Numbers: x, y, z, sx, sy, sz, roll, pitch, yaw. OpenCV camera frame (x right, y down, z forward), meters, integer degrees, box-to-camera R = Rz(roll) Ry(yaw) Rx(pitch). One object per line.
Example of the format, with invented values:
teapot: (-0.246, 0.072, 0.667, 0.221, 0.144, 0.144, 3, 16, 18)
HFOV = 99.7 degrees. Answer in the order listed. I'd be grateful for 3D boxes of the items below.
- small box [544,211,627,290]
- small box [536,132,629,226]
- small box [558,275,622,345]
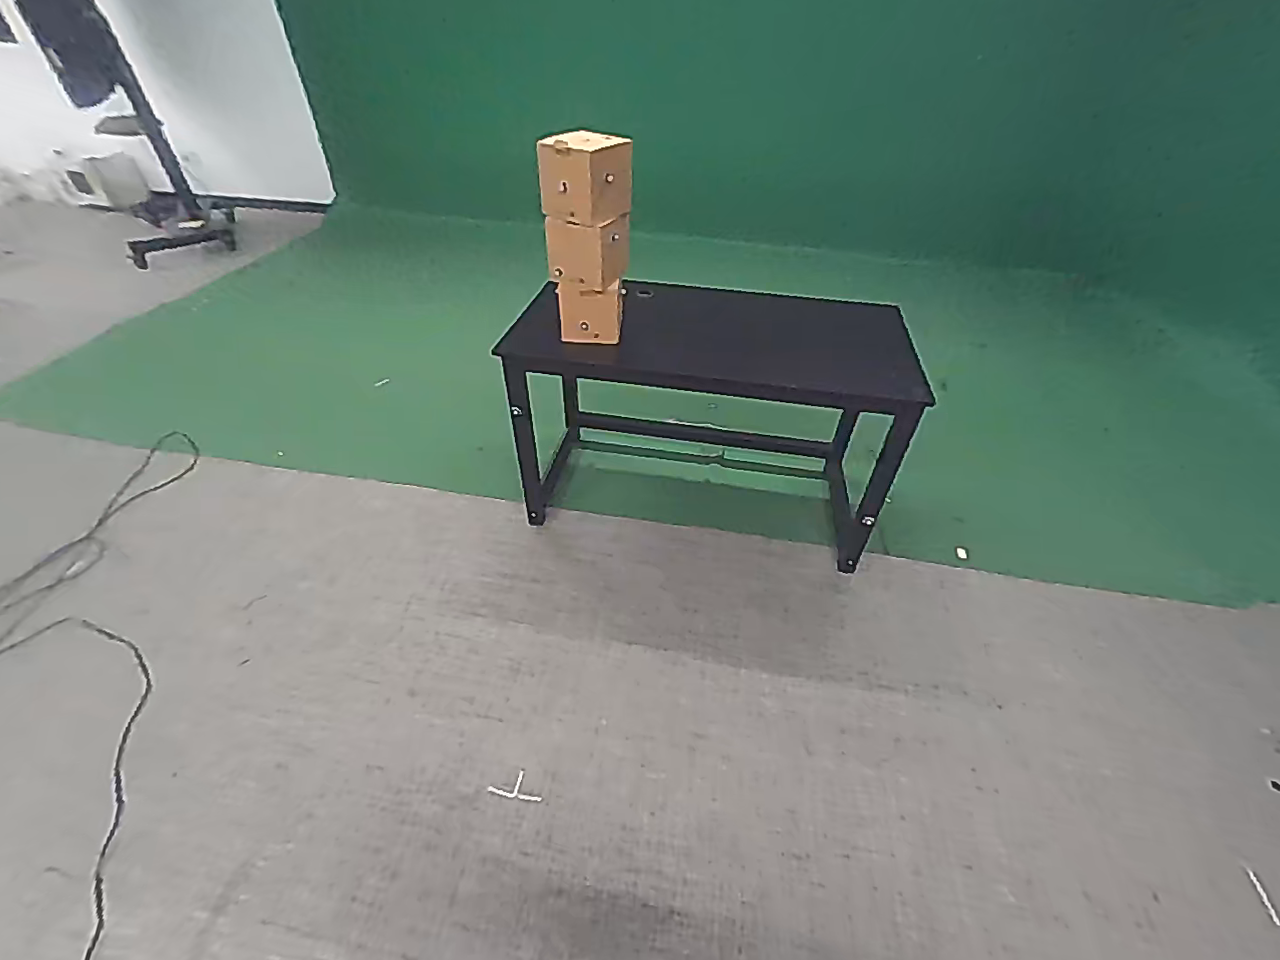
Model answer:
small box: (-0.143, -0.641, 1.485, 0.168, 0.176, 0.179, 18, 44, 16)
small box: (-0.139, -0.768, 1.380, 0.168, 0.176, 0.179, 26, 49, 23)
small box: (-0.144, -0.518, 1.594, 0.168, 0.176, 0.179, 3, 43, 0)
